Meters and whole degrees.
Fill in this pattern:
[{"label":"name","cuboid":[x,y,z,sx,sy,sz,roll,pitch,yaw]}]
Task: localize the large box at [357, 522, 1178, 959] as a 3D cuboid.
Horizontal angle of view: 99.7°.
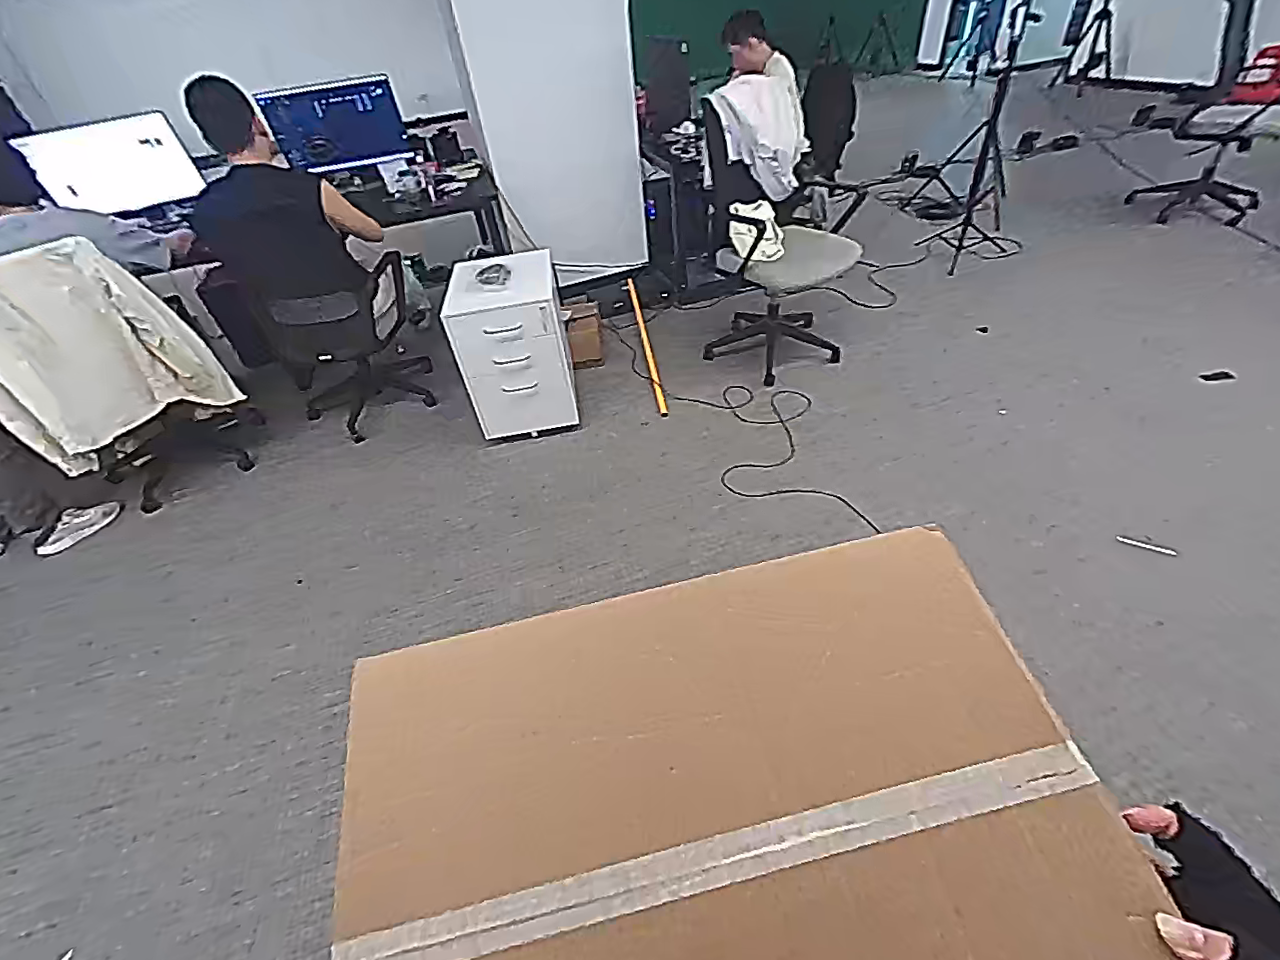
[{"label":"large box","cuboid":[0.053,0.281,0.421,0.408,0.320,0.320,-13,57,-3]}]
